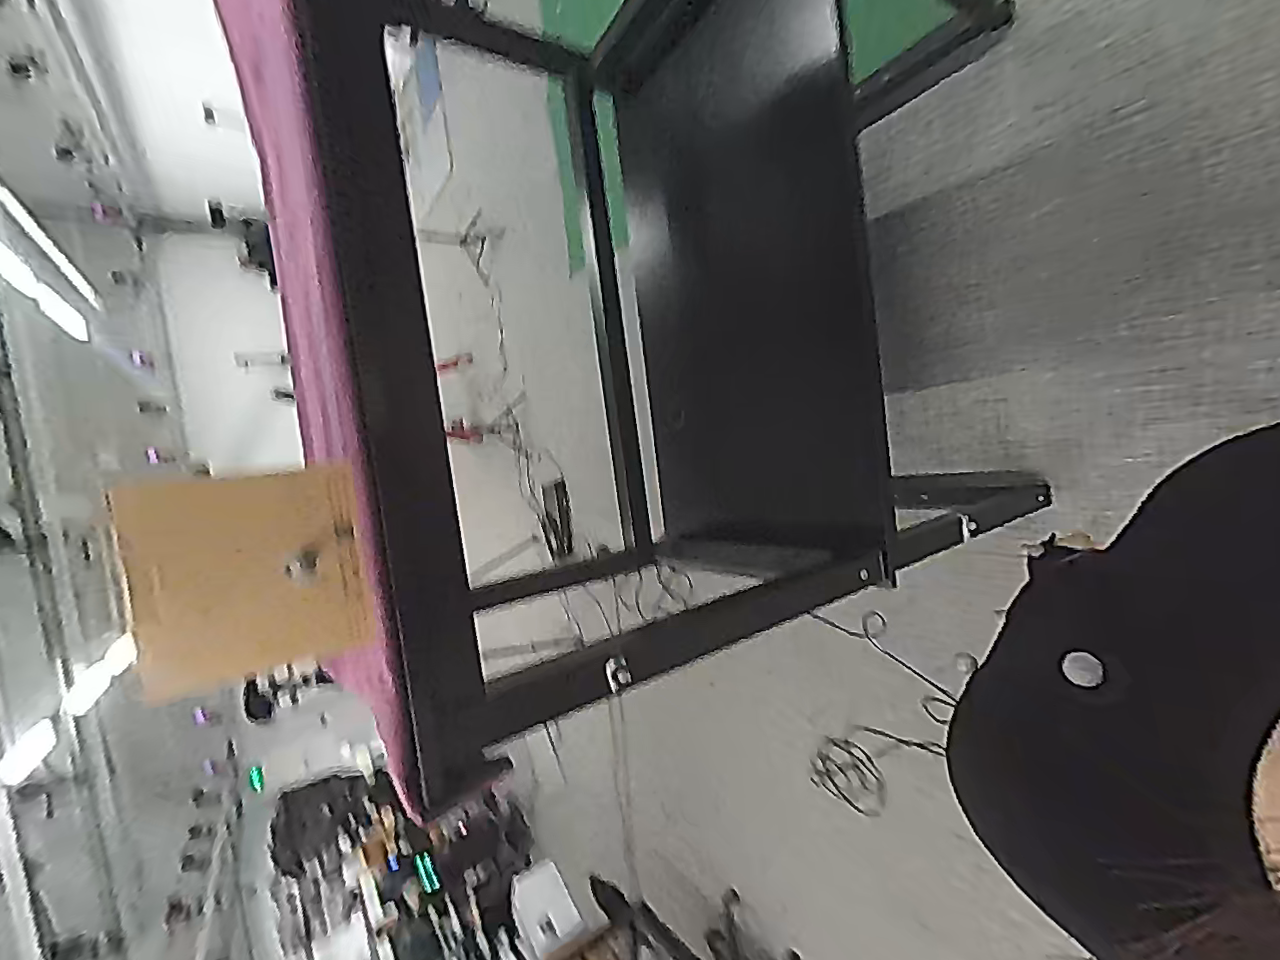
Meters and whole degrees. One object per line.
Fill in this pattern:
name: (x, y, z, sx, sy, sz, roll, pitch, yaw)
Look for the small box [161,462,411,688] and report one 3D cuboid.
small box: (-0.334, 0.075, 0.534, 0.179, 0.176, 0.168, -3, 96, 58)
